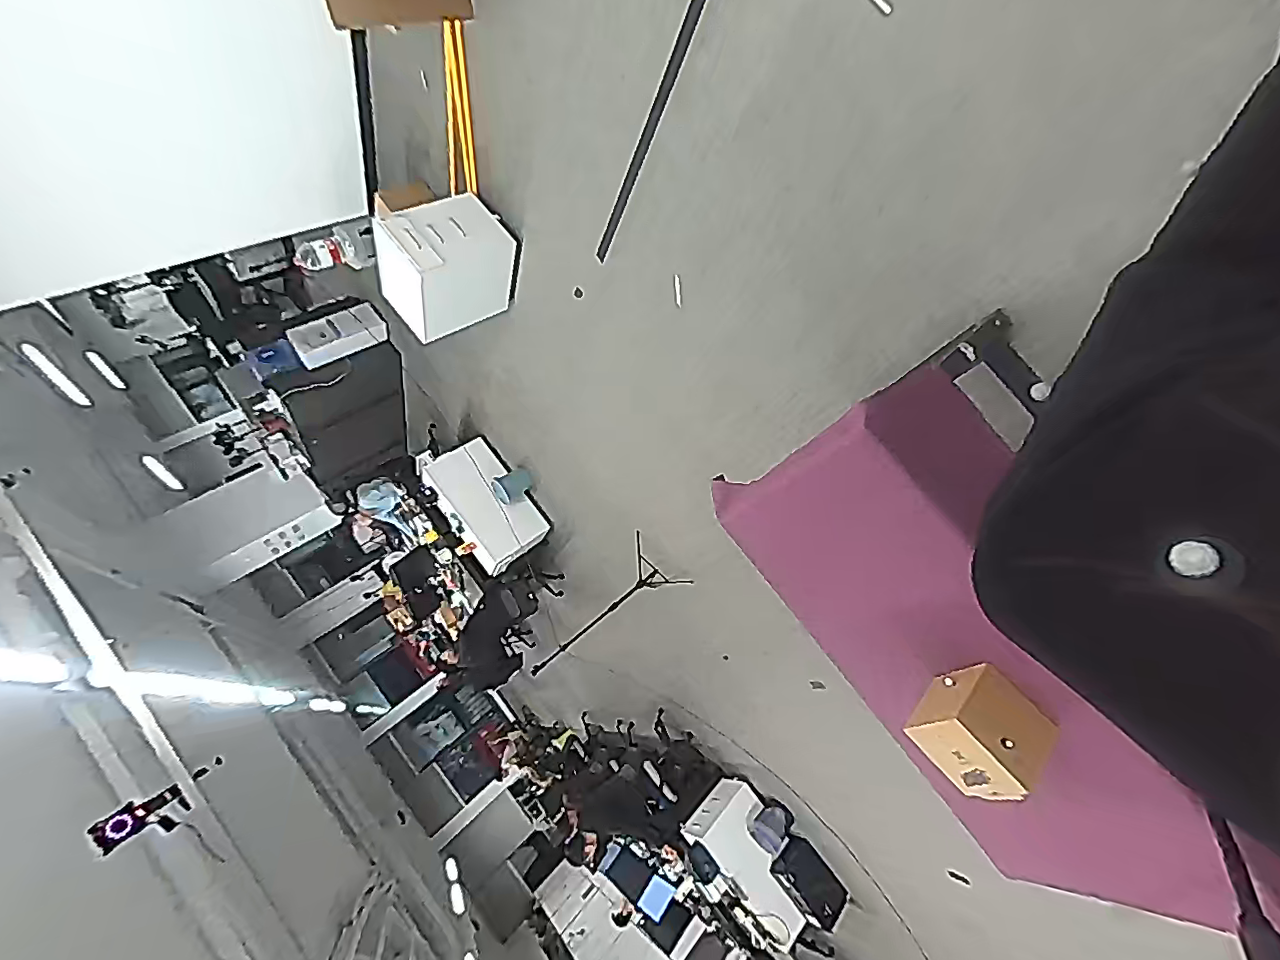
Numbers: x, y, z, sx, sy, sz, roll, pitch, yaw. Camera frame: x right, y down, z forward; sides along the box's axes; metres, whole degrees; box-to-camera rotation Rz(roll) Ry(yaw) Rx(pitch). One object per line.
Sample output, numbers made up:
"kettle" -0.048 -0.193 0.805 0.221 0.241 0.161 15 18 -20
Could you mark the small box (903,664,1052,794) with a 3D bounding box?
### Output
"small box" 0.704 0.519 1.129 0.179 0.176 0.168 46 149 14
